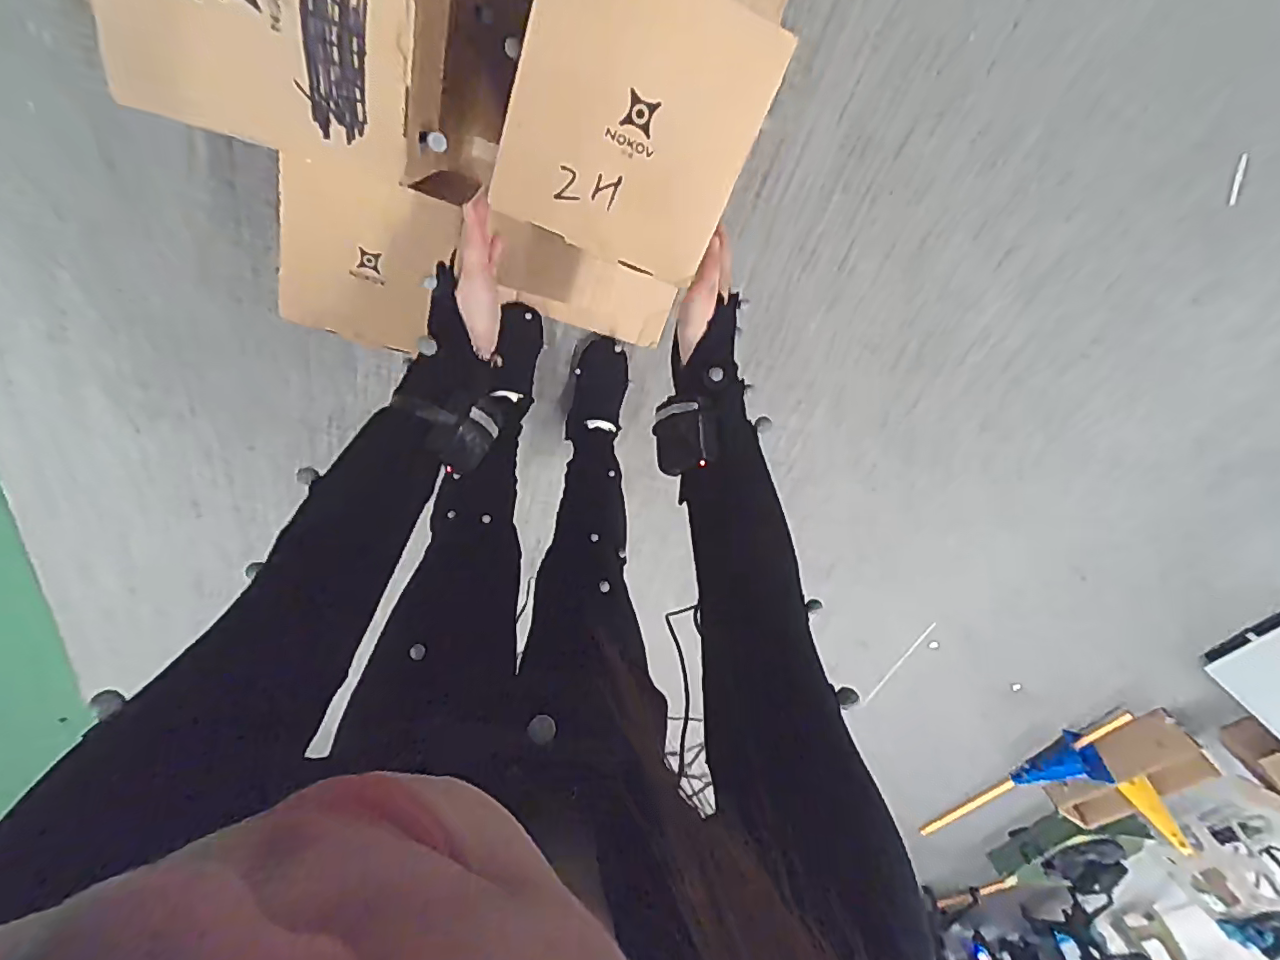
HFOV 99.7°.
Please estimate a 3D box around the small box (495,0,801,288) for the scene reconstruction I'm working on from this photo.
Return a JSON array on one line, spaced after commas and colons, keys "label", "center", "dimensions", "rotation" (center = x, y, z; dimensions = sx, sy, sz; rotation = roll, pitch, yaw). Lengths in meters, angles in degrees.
[{"label": "small box", "center": [-0.006, -0.289, 0.440], "dimensions": [0.168, 0.176, 0.179], "rotation": [17, 121, -15]}]
